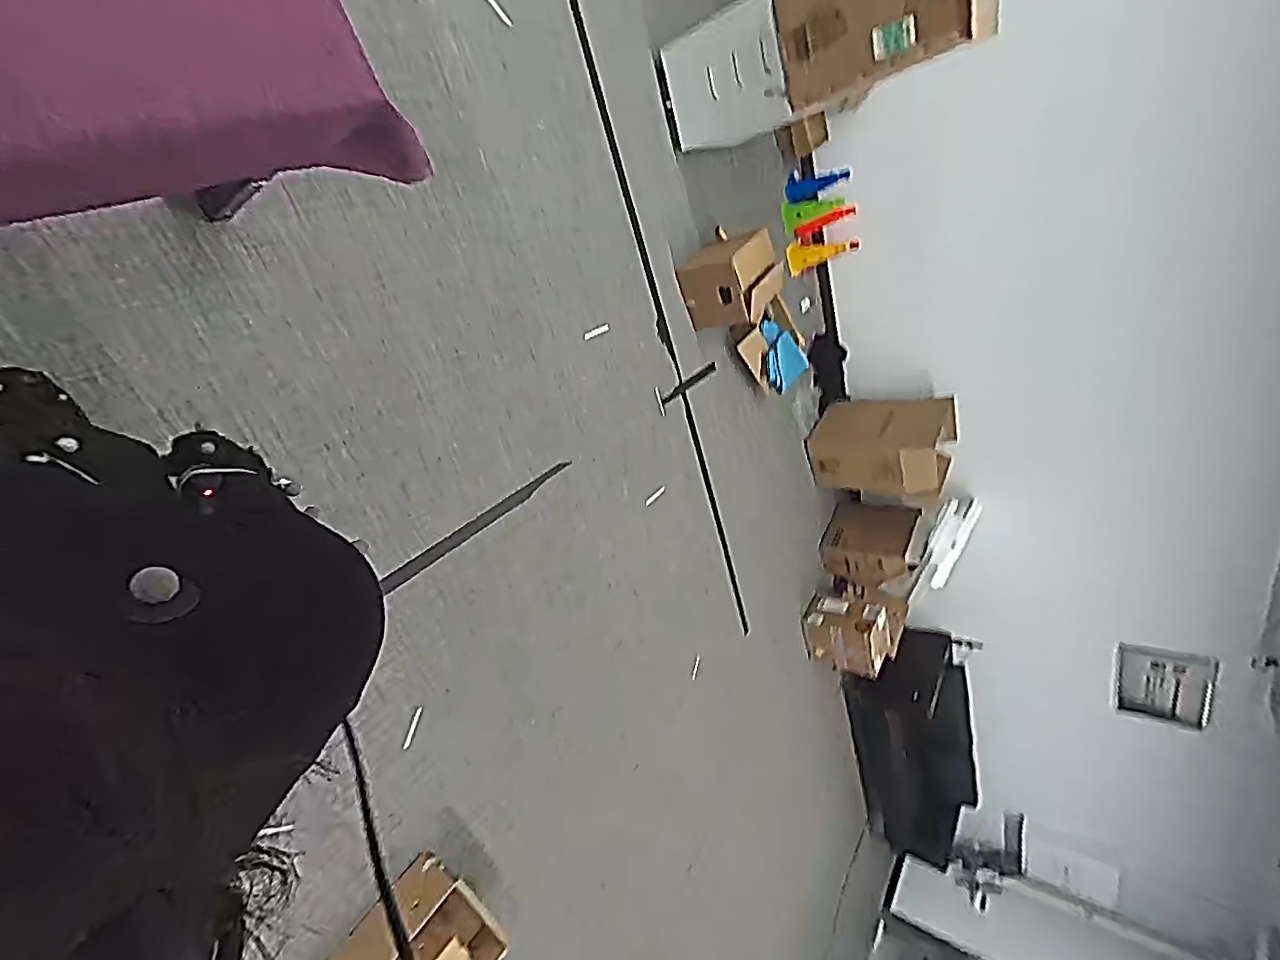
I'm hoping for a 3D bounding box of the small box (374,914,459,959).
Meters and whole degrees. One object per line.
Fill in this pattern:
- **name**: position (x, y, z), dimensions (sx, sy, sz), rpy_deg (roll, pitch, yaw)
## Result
- **small box**: position (-0.650, 1.427, 1.571), dimensions (0.179, 0.176, 0.168), rpy_deg (-37, 119, -43)
